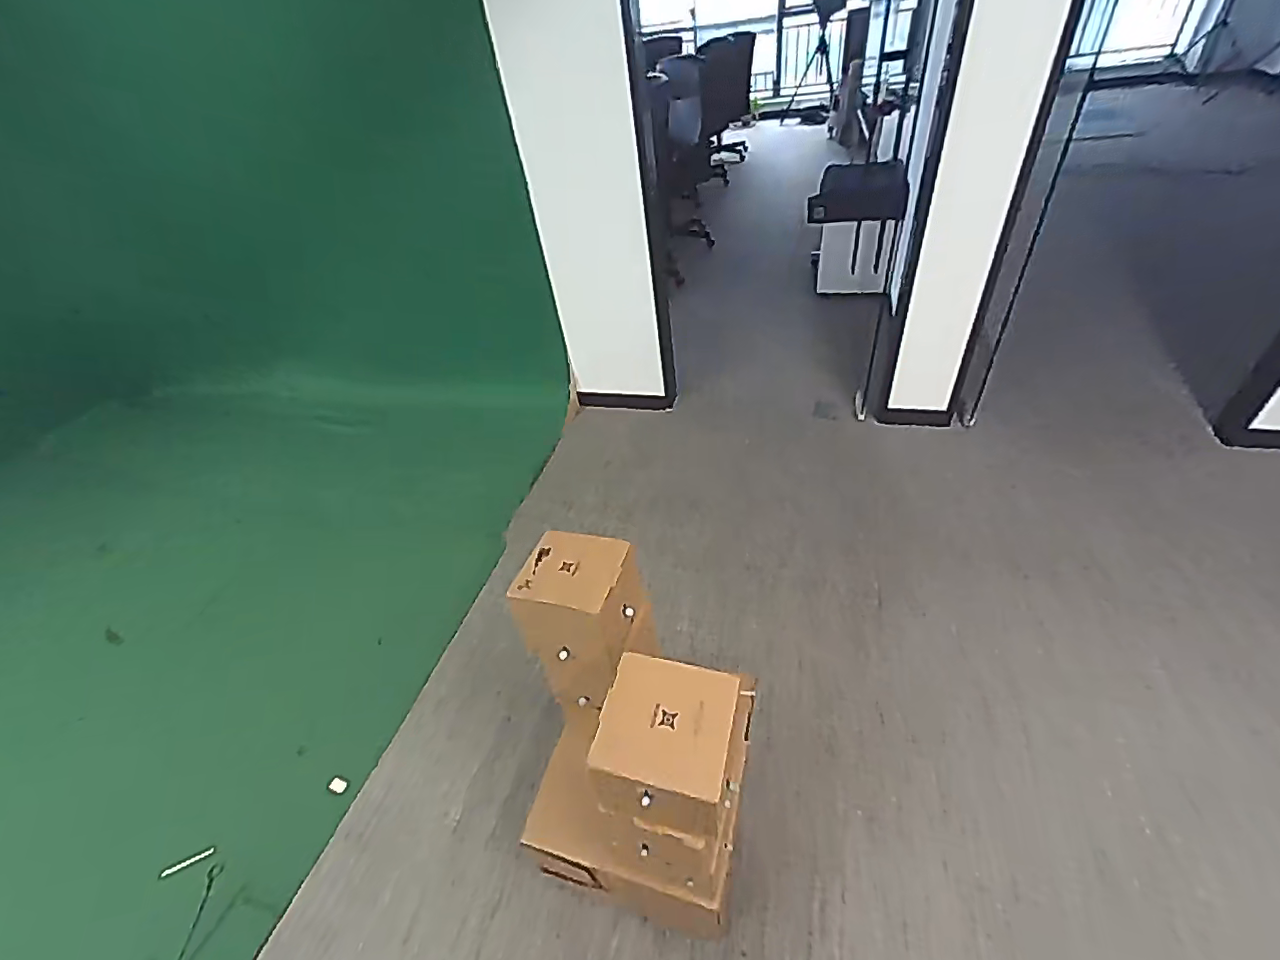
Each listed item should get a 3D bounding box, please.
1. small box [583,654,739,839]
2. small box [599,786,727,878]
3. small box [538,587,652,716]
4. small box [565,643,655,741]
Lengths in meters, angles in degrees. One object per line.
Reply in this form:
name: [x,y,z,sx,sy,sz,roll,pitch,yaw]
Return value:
small box: [0.039,0.381,0.773,0.179,0.176,0.168,8,44,15]
small box: [0.048,0.503,0.881,0.168,0.176,0.179,10,45,19]
small box: [-0.080,0.348,1.087,0.168,0.176,0.179,7,41,19]
small box: [-0.063,0.466,1.203,0.168,0.176,0.179,6,40,18]
